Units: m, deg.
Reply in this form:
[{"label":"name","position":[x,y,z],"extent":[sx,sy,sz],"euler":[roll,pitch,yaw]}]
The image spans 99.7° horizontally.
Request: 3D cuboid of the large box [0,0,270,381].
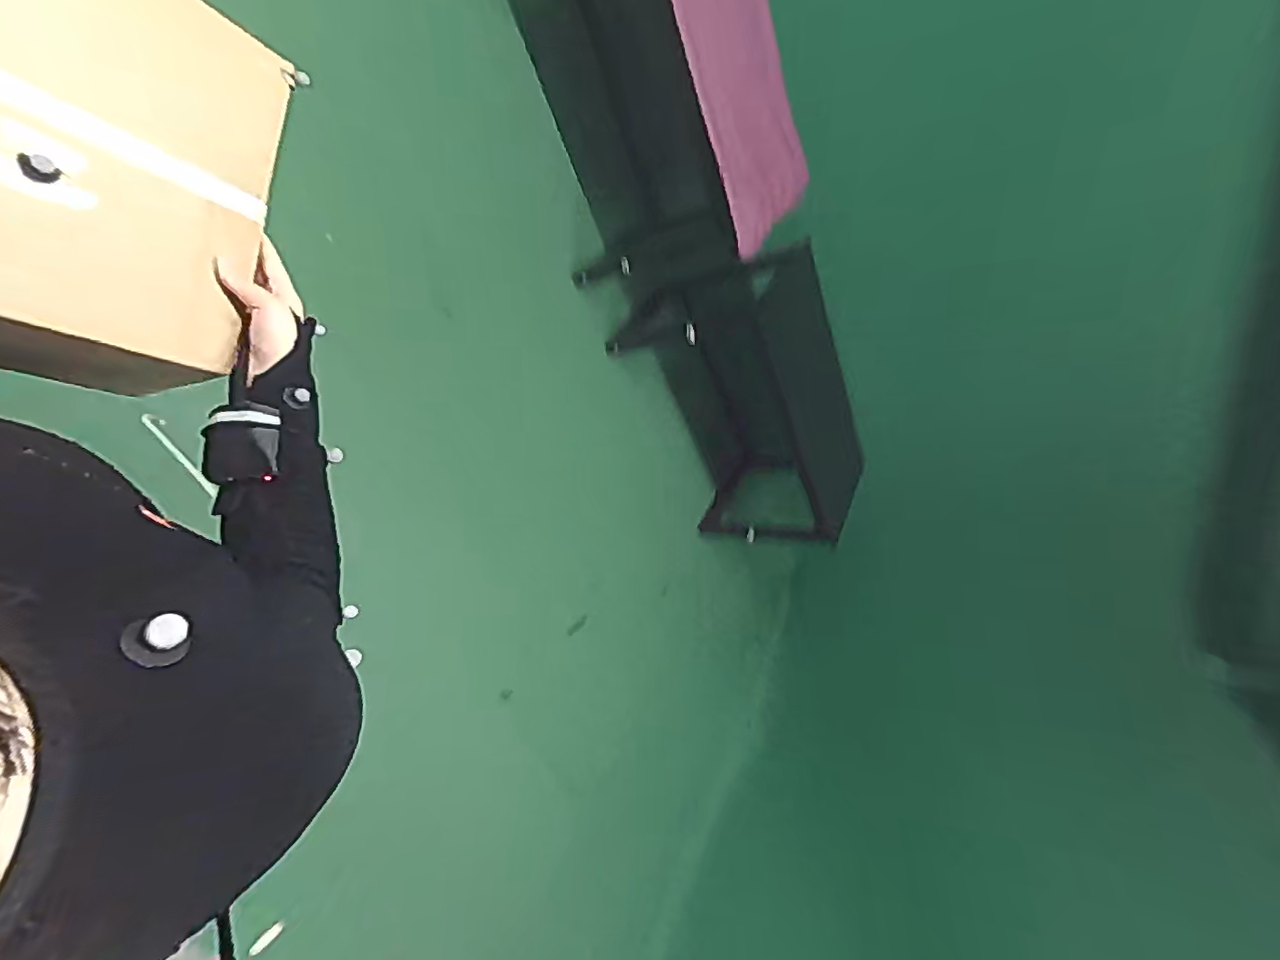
[{"label":"large box","position":[-0.602,-0.288,0.427],"extent":[0.408,0.320,0.320],"euler":[13,81,-55]}]
